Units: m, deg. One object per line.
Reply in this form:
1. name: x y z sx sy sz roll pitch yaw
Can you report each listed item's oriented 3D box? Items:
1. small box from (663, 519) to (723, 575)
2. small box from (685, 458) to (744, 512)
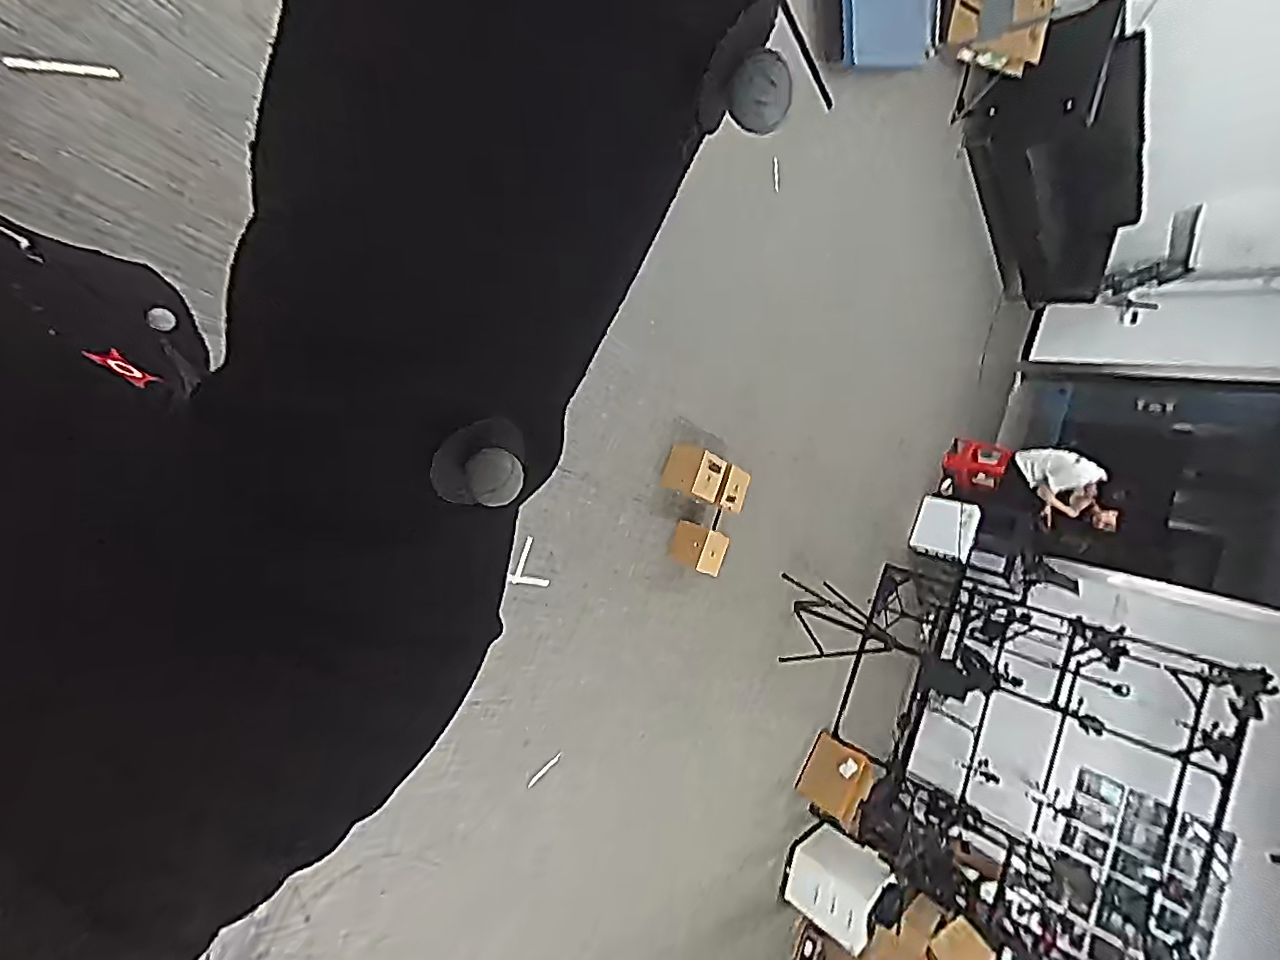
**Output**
1. small box: 0.223 0.286 2.320 0.168 0.176 0.179 26 82 -47
2. small box: 0.320 0.020 2.344 0.168 0.176 0.179 25 82 -47
